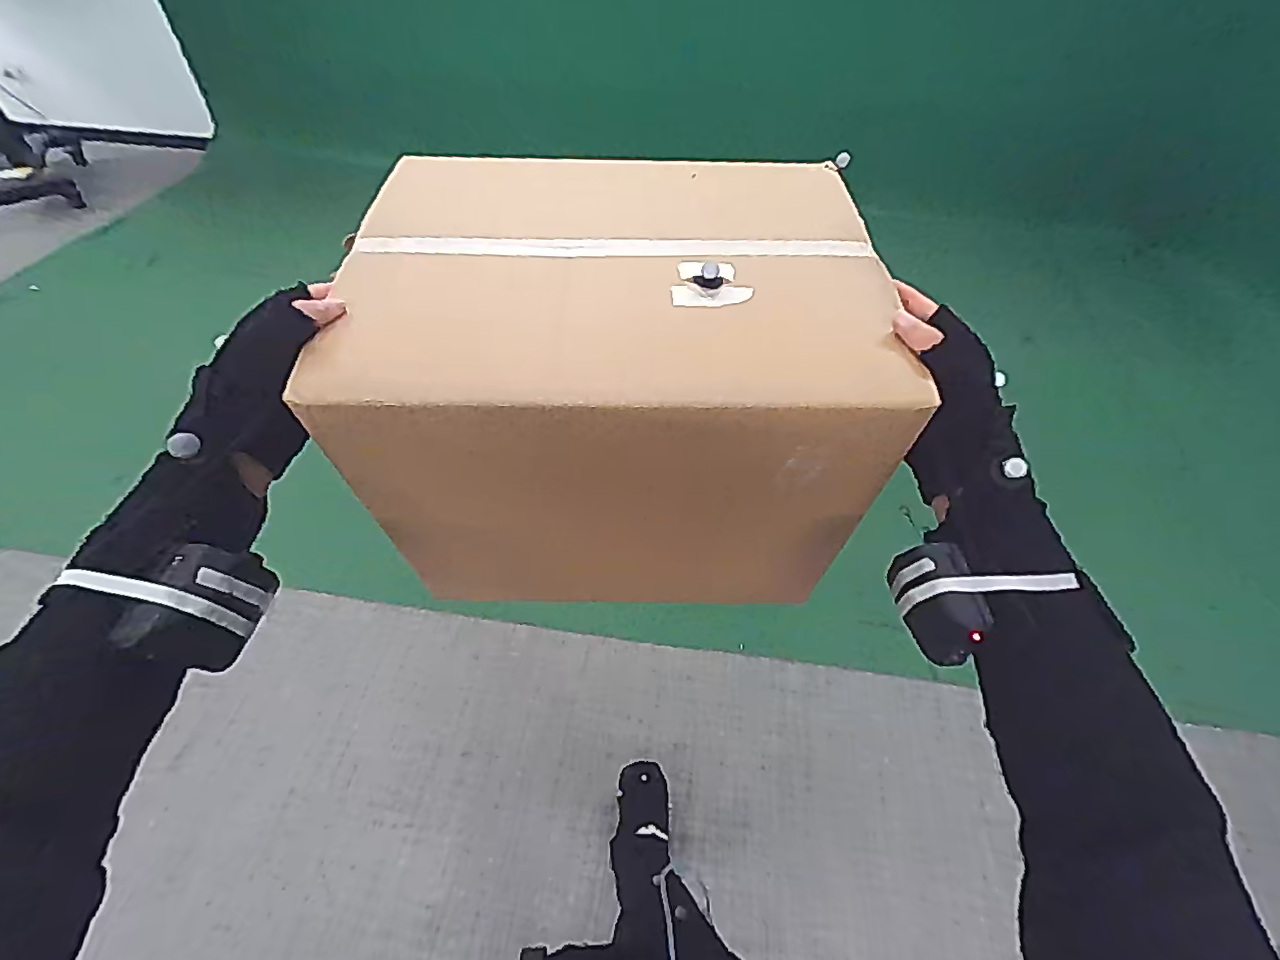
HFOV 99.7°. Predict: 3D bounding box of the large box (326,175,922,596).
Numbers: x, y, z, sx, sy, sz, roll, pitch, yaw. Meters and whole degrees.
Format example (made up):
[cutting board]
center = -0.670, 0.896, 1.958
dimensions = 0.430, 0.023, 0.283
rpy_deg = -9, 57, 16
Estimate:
[large box]
center = -0.016, -0.083, 0.561
dimensions = 0.408, 0.320, 0.320
rpy_deg = 1, 55, -2
